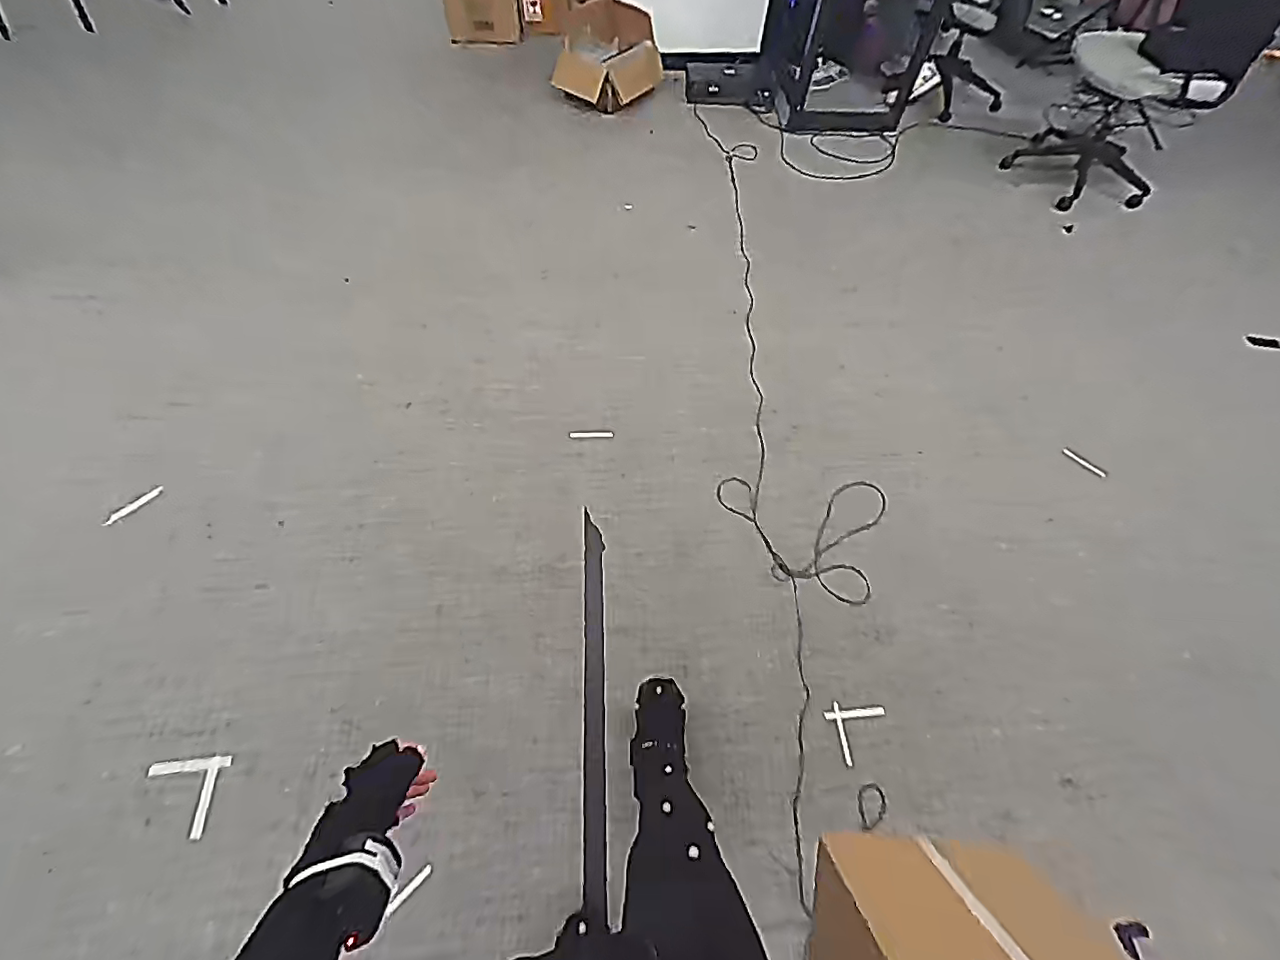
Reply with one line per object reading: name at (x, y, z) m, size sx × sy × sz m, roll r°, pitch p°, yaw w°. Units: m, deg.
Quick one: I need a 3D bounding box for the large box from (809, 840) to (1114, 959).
large box at (0.411, 0.714, 0.627) m, size 0.320 × 0.408 × 0.320 m, roll 7°, pitch 88°, yaw 0°
